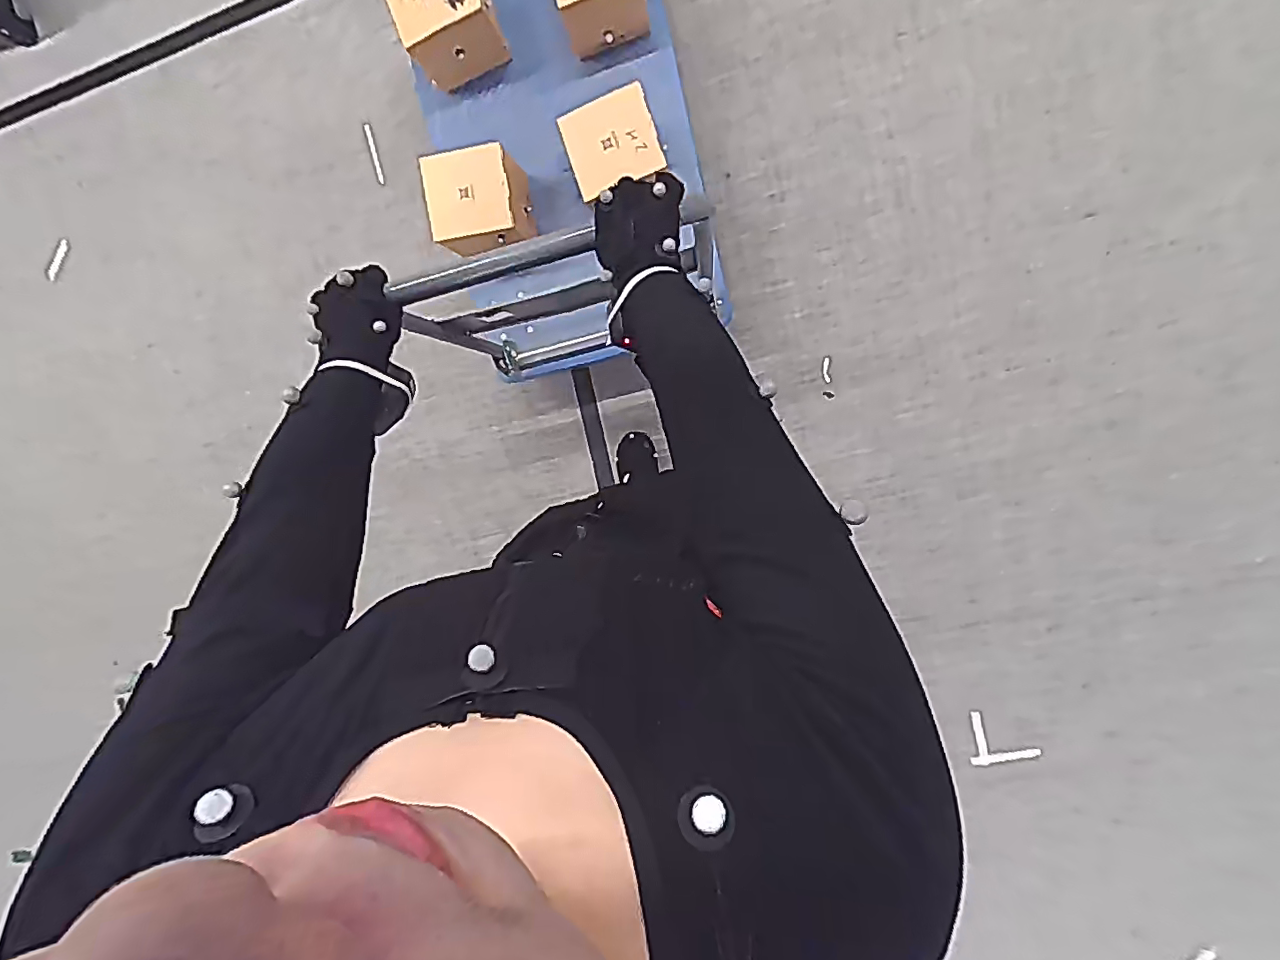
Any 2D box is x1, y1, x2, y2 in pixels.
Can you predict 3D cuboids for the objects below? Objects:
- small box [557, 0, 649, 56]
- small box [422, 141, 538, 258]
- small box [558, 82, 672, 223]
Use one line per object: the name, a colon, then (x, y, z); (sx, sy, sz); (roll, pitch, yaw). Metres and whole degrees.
small box: (-0.086, -1.002, 1.070); (0.168, 0.176, 0.179); (-14, 98, 10)
small box: (-0.339, -0.595, 1.172); (0.179, 0.176, 0.168); (-7, 98, 7)
small box: (-0.044, -0.662, 1.120); (0.179, 0.176, 0.168); (-18, 97, 10)
